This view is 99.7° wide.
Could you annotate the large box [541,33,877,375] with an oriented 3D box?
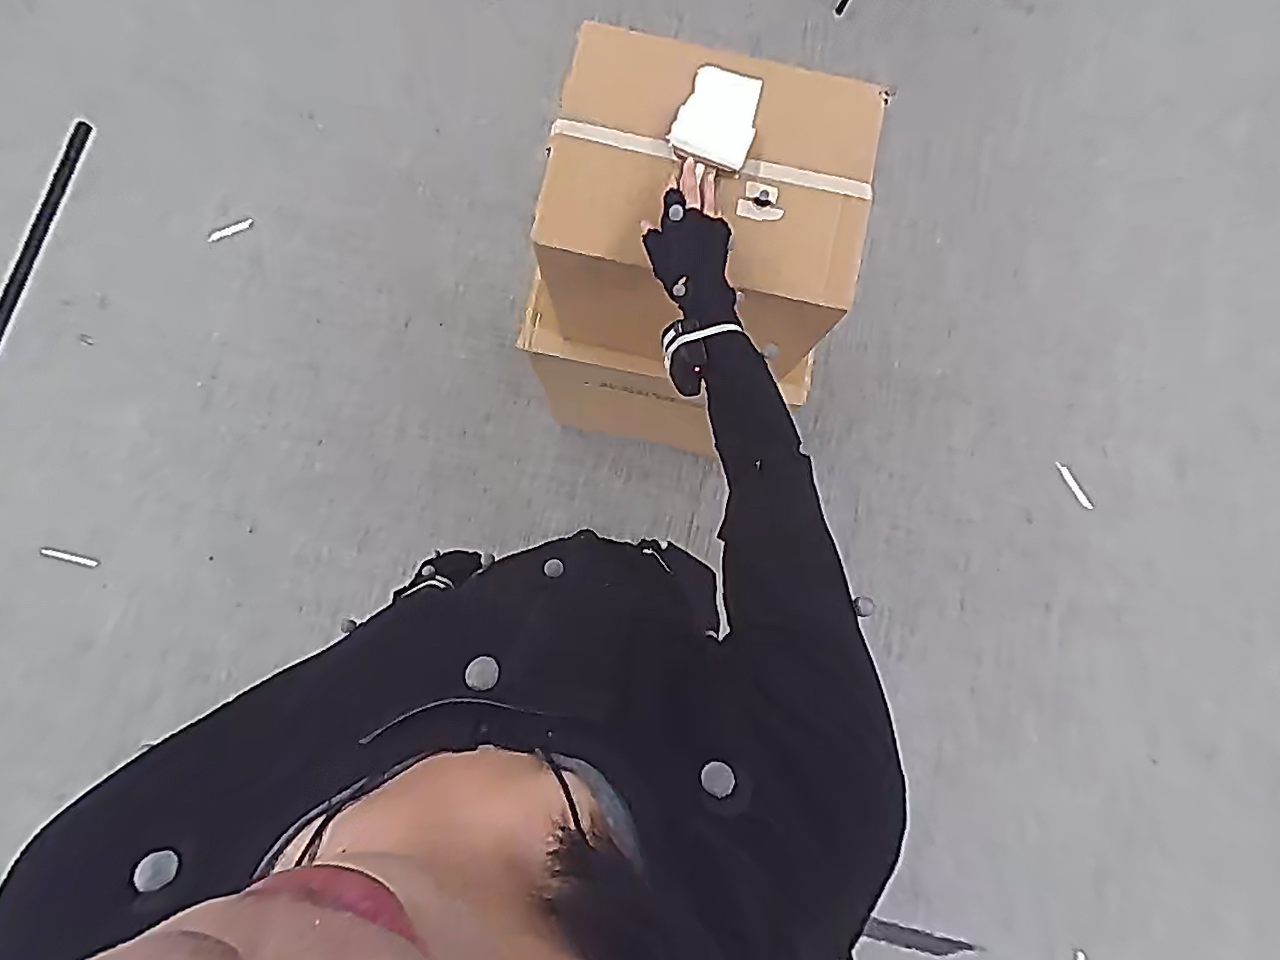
[{"bbox_3d":[0.087,-0.389,0.845,0.408,0.320,0.320,12,83,-2],"label":"large box"}]
